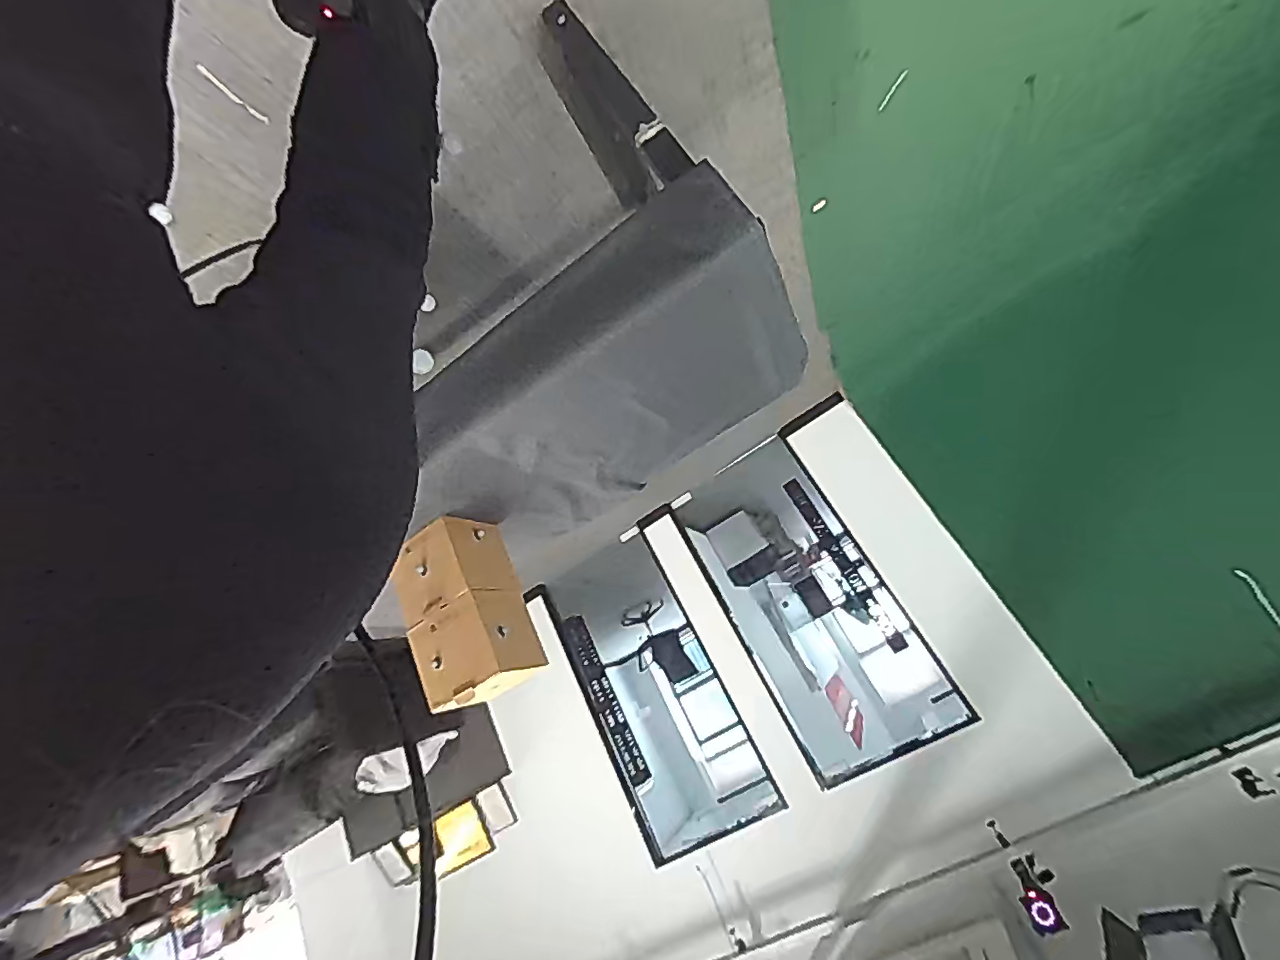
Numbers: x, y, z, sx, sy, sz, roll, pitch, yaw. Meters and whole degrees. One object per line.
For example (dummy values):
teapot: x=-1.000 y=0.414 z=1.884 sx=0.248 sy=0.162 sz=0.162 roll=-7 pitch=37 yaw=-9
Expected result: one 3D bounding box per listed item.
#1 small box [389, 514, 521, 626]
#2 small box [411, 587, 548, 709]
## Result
small box: x=-0.387 y=0.187 z=1.128 sx=0.168 sy=0.176 sz=0.179 roll=-34 pitch=157 yaw=14
small box: x=-0.318 y=0.323 z=1.069 sx=0.168 sy=0.176 sz=0.179 roll=-32 pitch=159 yaw=11
